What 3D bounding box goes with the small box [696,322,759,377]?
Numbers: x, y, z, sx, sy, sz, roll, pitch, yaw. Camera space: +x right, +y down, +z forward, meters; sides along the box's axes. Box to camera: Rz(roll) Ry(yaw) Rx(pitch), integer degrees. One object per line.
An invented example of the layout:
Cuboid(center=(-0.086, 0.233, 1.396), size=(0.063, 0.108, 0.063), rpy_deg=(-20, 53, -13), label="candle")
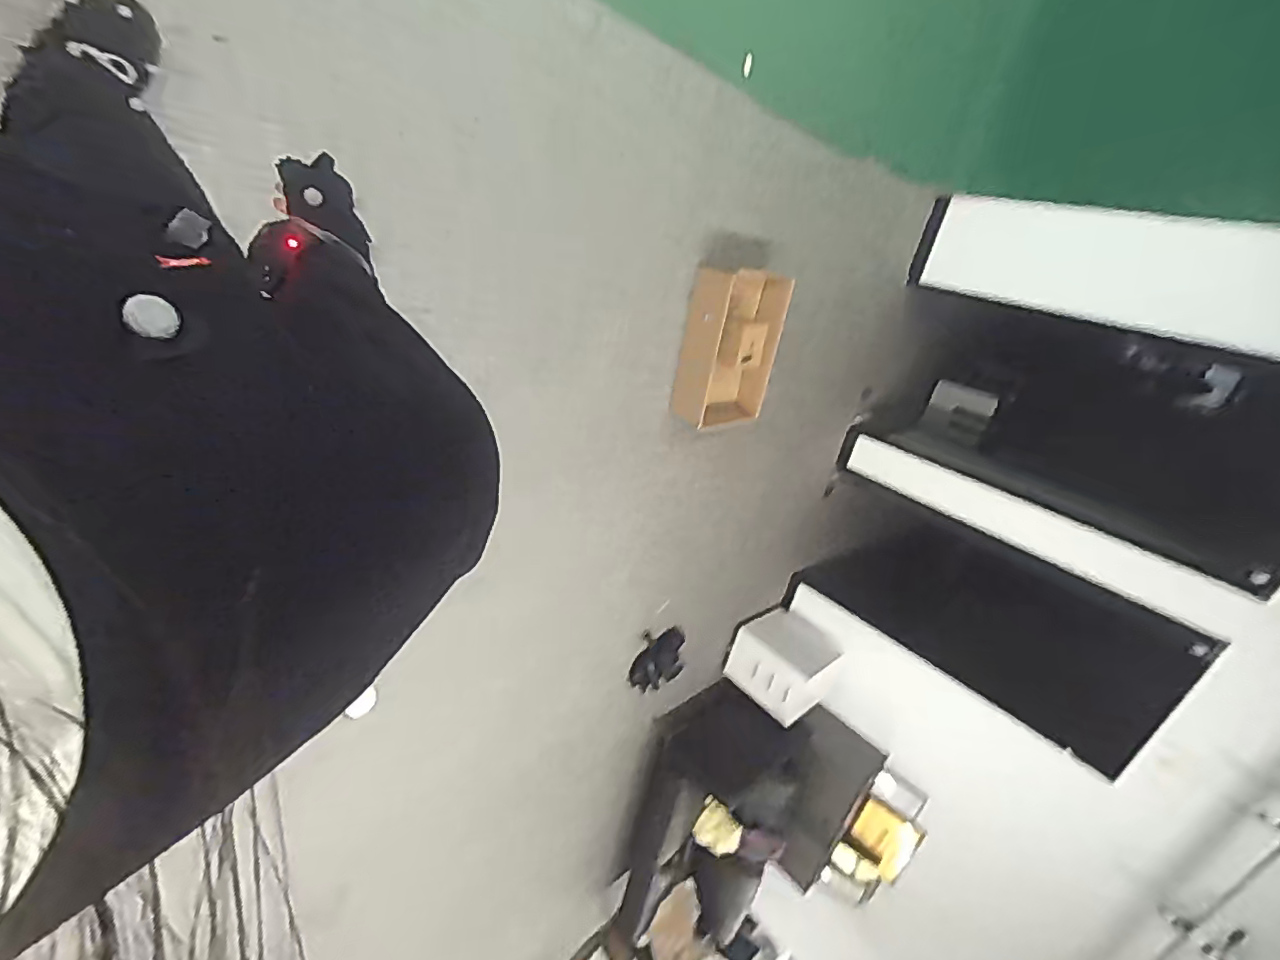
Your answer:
Cuboid(center=(0.343, -0.525, 2.159), size=(0.168, 0.176, 0.179), rpy_deg=(-18, 126, -41), label="small box")
